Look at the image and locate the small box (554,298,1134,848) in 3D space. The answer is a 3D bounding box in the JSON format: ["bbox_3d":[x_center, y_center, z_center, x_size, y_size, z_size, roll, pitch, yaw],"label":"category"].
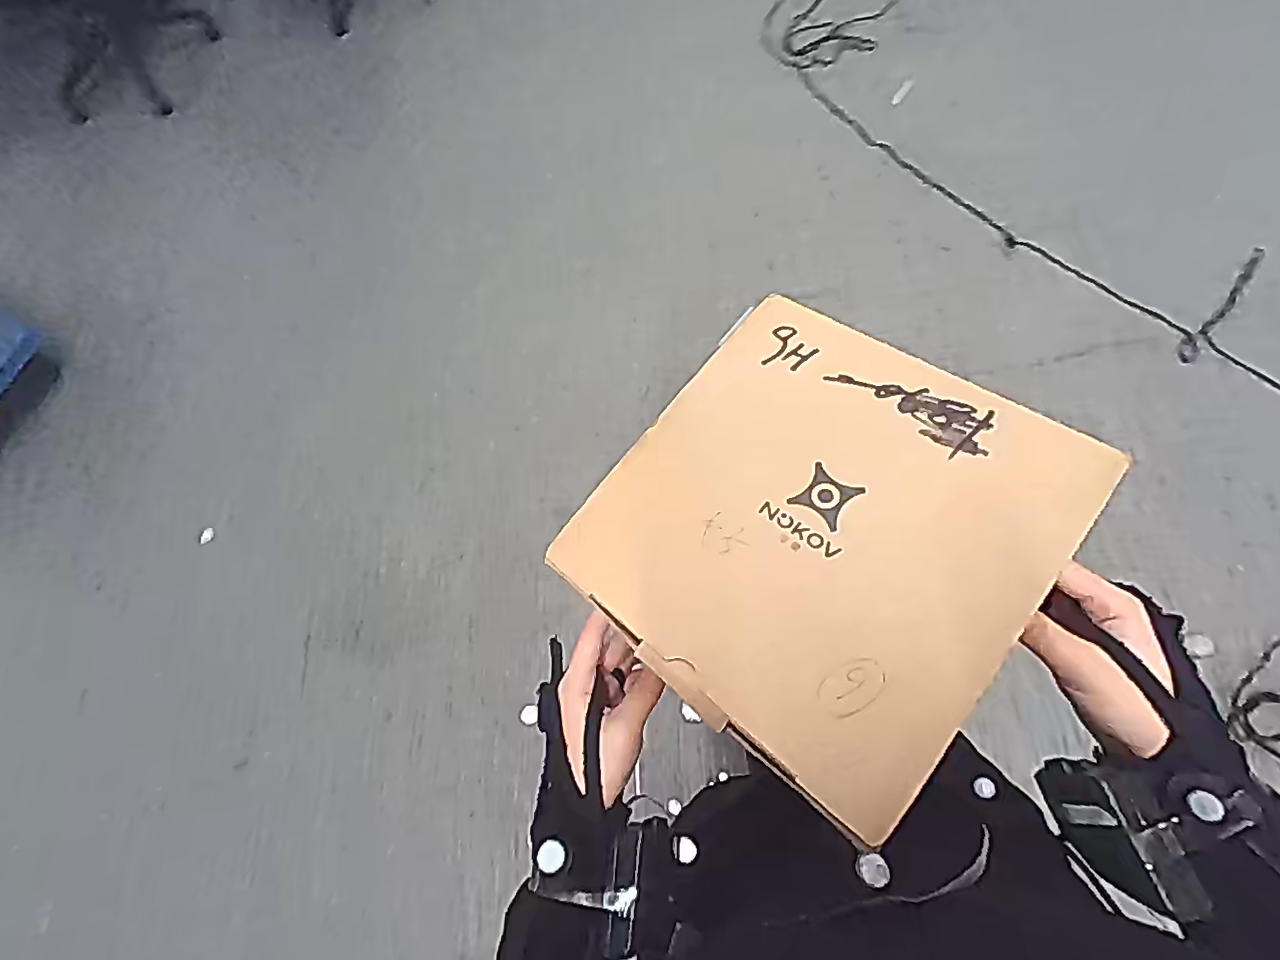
[{"bbox_3d":[0.092,0.047,0.294,0.168,0.176,0.179,37,80,26],"label":"small box"}]
